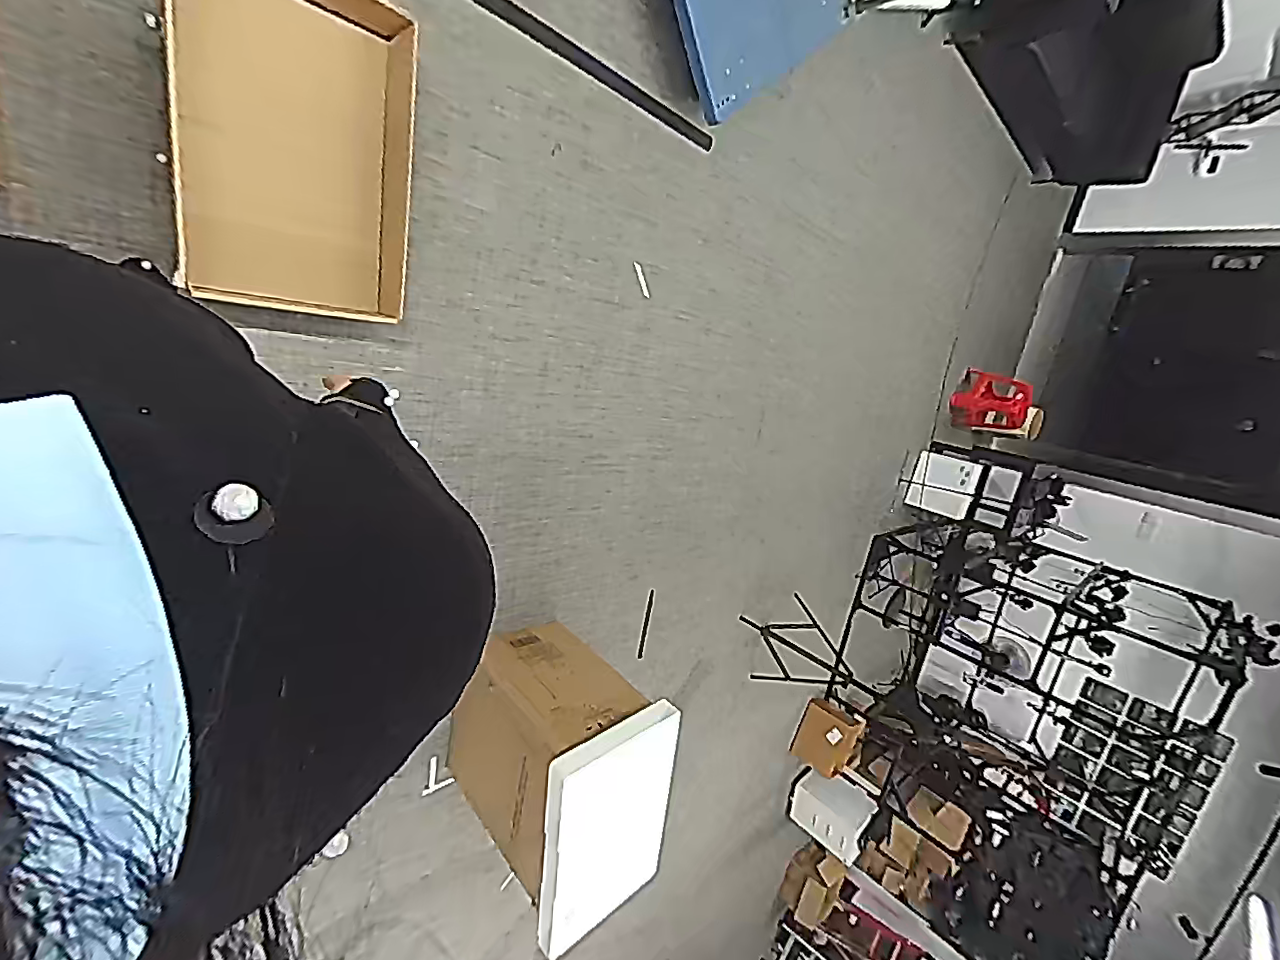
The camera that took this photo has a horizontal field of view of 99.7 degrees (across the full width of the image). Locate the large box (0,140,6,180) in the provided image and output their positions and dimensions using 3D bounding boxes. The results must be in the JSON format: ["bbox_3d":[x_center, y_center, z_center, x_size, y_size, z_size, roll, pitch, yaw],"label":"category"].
[{"bbox_3d":[-1.063,-0.639,0.666,0.320,0.320,0.408,-7,113,-43],"label":"large box"}]
